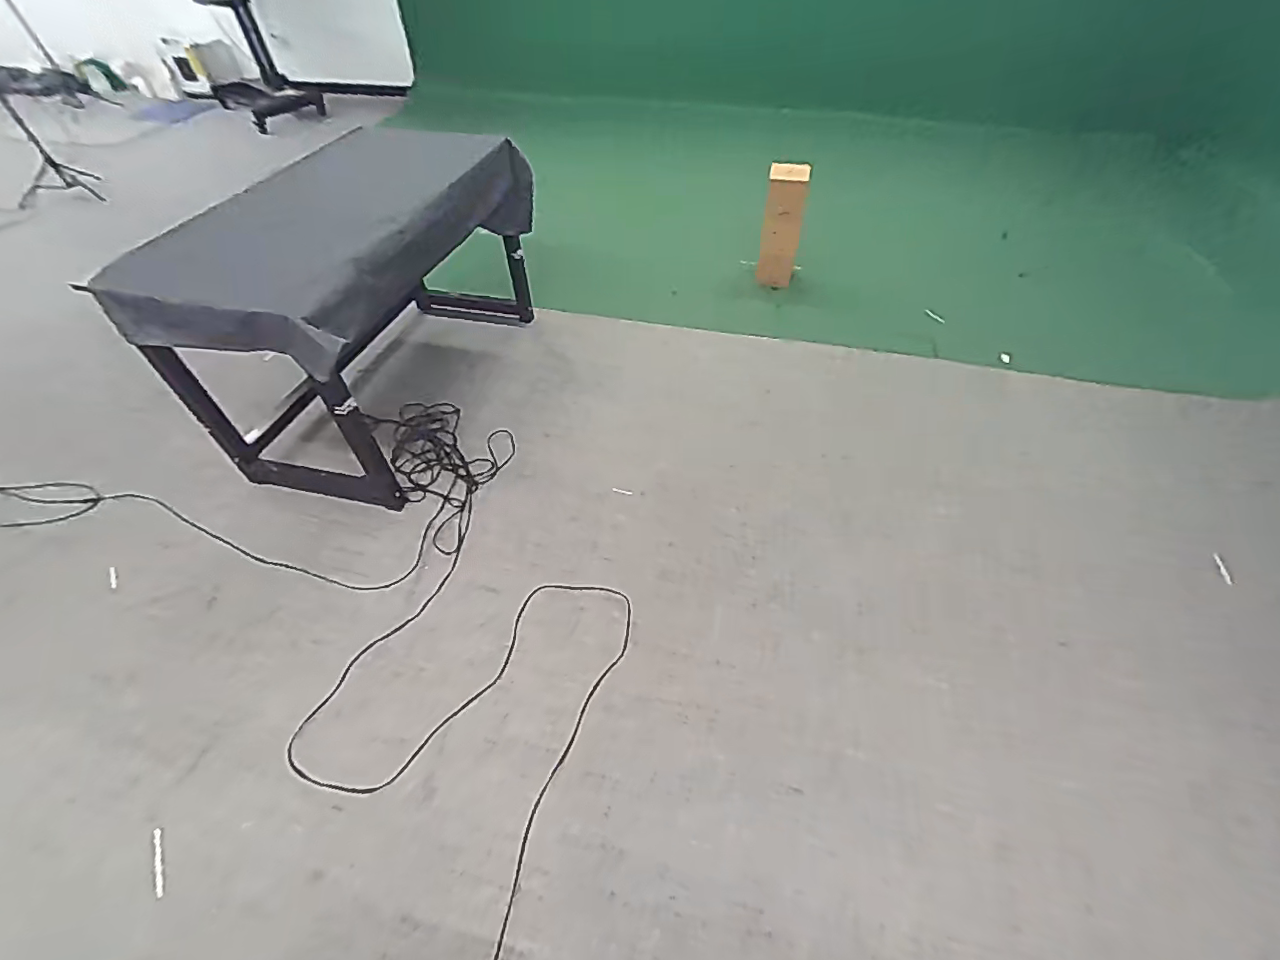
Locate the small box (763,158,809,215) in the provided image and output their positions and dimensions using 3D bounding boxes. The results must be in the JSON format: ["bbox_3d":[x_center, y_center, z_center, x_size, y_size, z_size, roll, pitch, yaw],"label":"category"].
[{"bbox_3d":[0.637,-1.287,2.371,0.168,0.176,0.179,9,50,11],"label":"small box"}]

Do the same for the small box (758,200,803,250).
[{"bbox_3d":[0.647,-1.183,2.497,0.168,0.176,0.179,11,50,11],"label":"small box"}]
